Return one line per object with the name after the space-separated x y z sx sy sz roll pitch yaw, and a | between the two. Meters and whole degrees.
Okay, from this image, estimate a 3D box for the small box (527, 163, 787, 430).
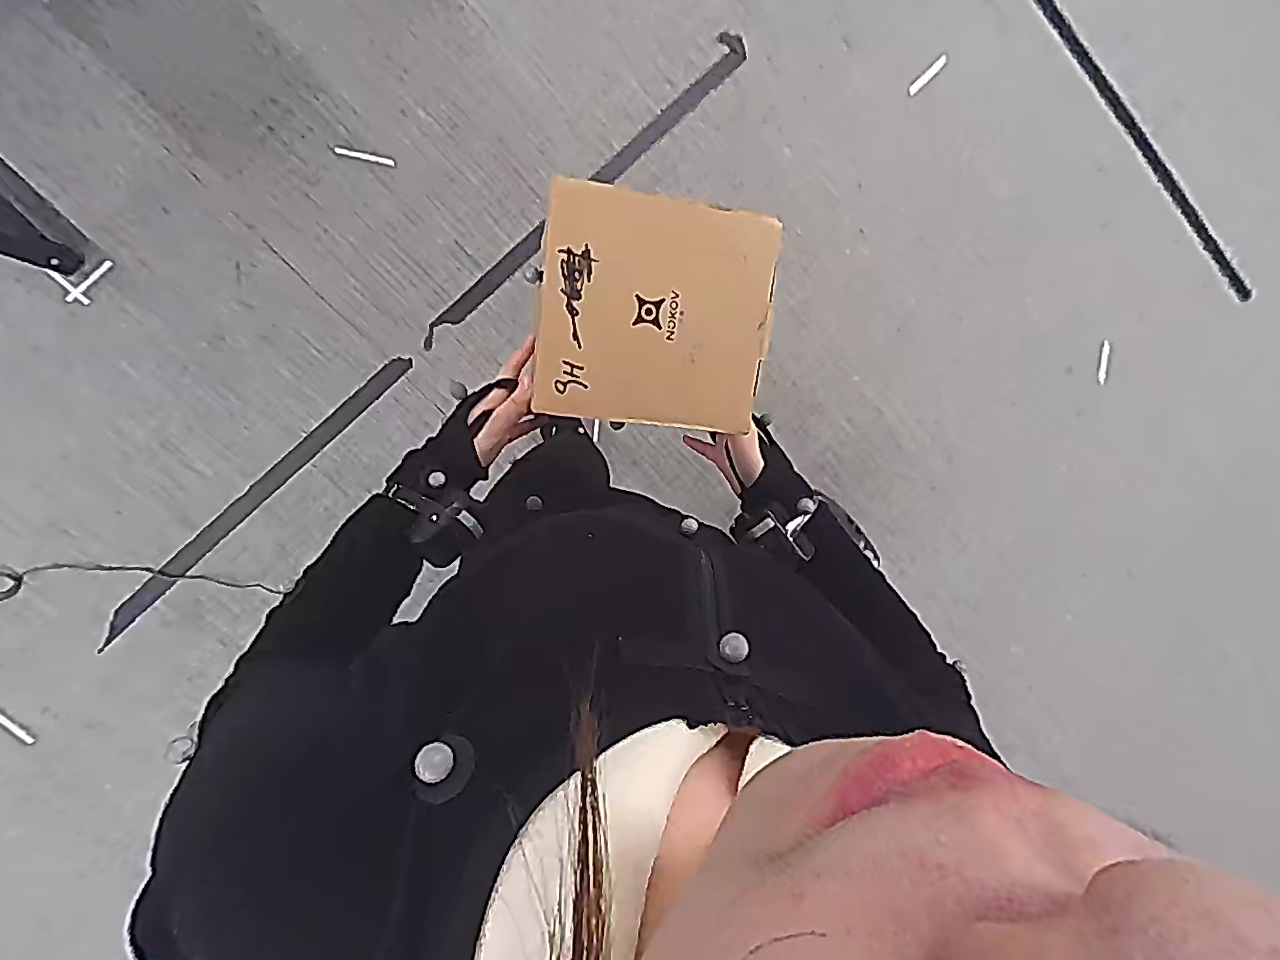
-0.001 -0.141 0.470 0.179 0.176 0.168 4 100 -14 | small box

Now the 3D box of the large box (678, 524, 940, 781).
0.354 0.356 1.224 0.408 0.320 0.320 -41 99 -5 | large box

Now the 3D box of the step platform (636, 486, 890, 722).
0.328 0.319 1.459 0.684 0.204 0.286 -39 98 -5 | step platform
